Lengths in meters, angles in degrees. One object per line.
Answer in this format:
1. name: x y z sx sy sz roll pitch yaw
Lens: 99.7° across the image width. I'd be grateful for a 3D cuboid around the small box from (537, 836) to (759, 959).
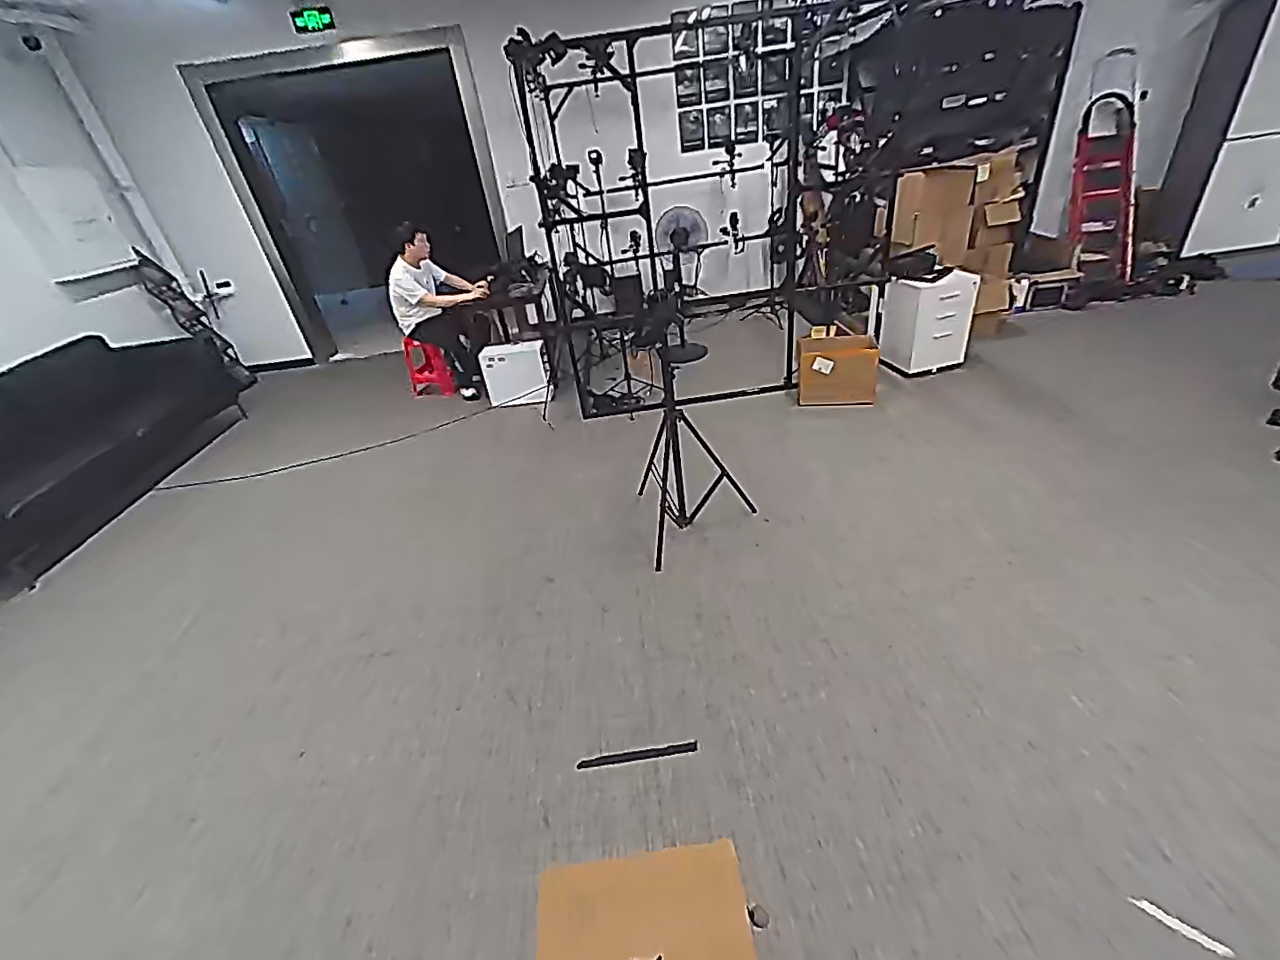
1. small box: 0.016 0.423 0.432 0.168 0.176 0.179 -10 38 1
